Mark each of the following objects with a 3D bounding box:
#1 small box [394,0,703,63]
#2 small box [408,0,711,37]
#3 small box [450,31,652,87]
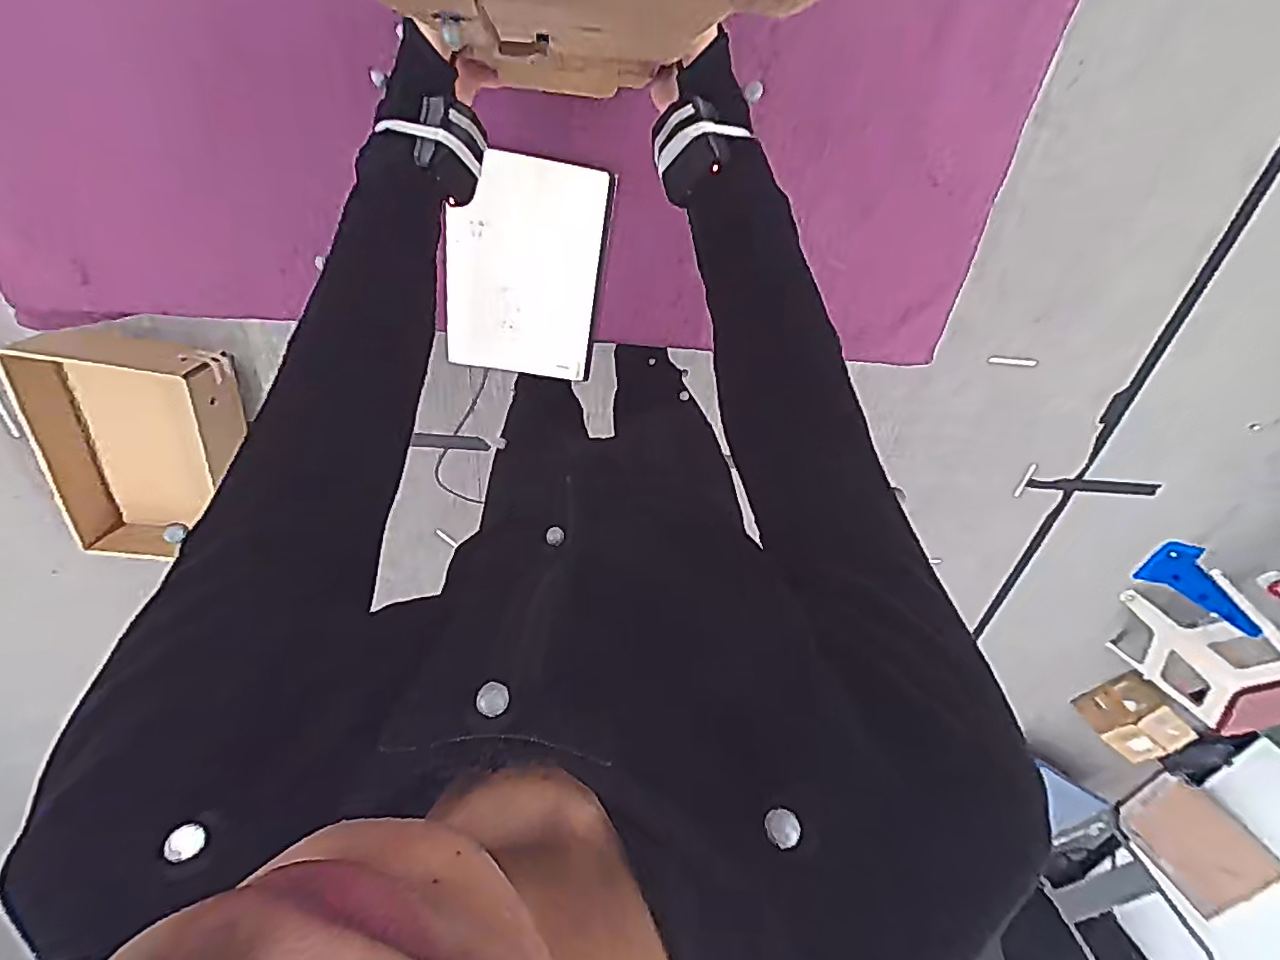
[{"bbox_3d":[-0.050,-0.366,0.324,0.179,0.176,0.168,2,124,-7],"label":"small box"},{"bbox_3d":[-0.039,-0.278,0.186,0.168,0.176,0.179,1,123,-6],"label":"small box"},{"bbox_3d":[-0.066,-0.454,0.462,0.168,0.176,0.179,3,123,-8],"label":"small box"}]
